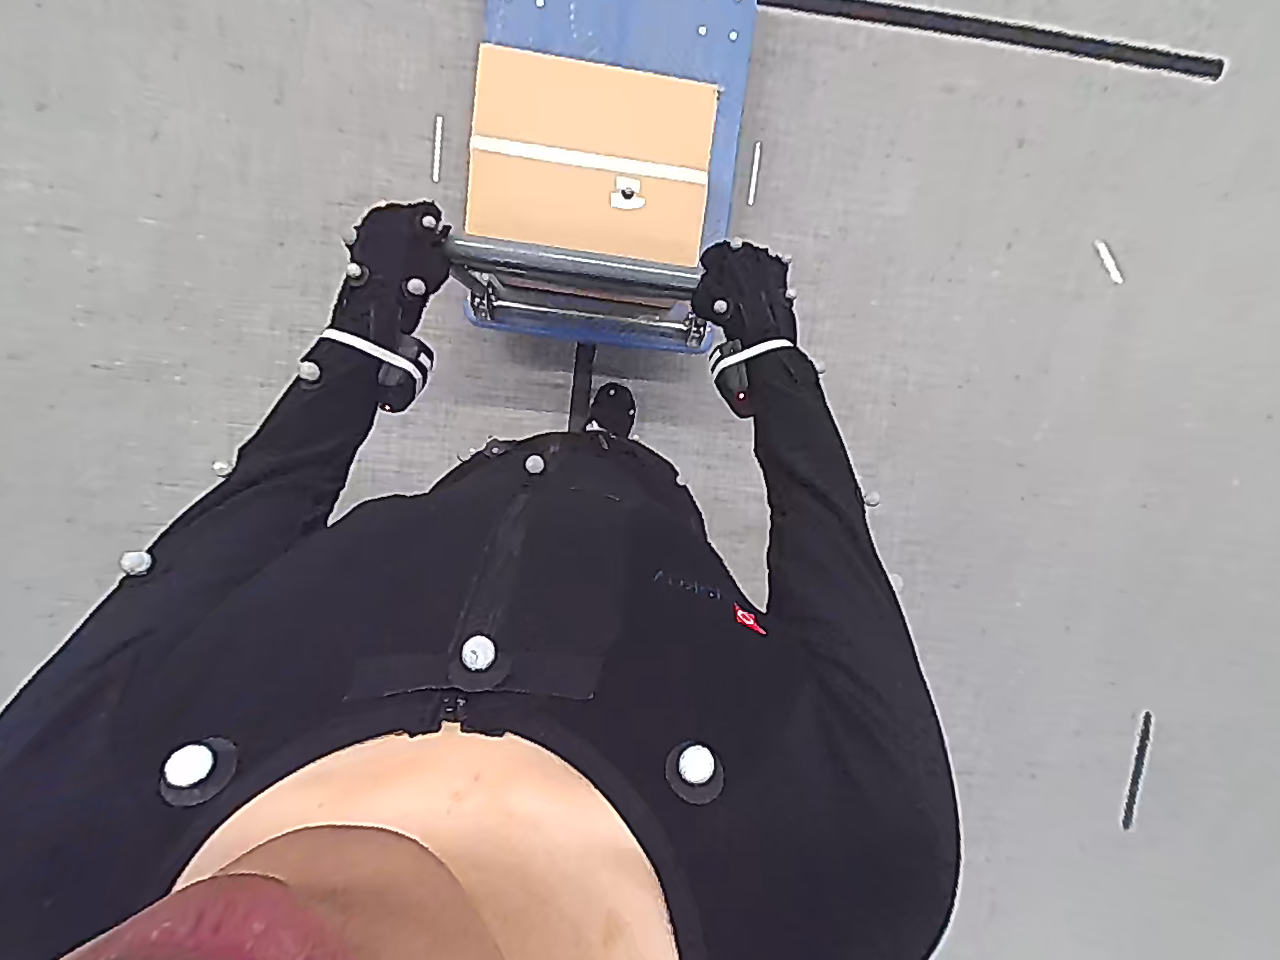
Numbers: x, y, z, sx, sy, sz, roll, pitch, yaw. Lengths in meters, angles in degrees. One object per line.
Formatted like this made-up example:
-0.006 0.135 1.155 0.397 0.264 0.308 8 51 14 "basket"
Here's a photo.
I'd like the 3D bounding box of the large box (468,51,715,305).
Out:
-0.097 -0.552 1.065 0.408 0.320 0.320 6 97 -6 "large box"
